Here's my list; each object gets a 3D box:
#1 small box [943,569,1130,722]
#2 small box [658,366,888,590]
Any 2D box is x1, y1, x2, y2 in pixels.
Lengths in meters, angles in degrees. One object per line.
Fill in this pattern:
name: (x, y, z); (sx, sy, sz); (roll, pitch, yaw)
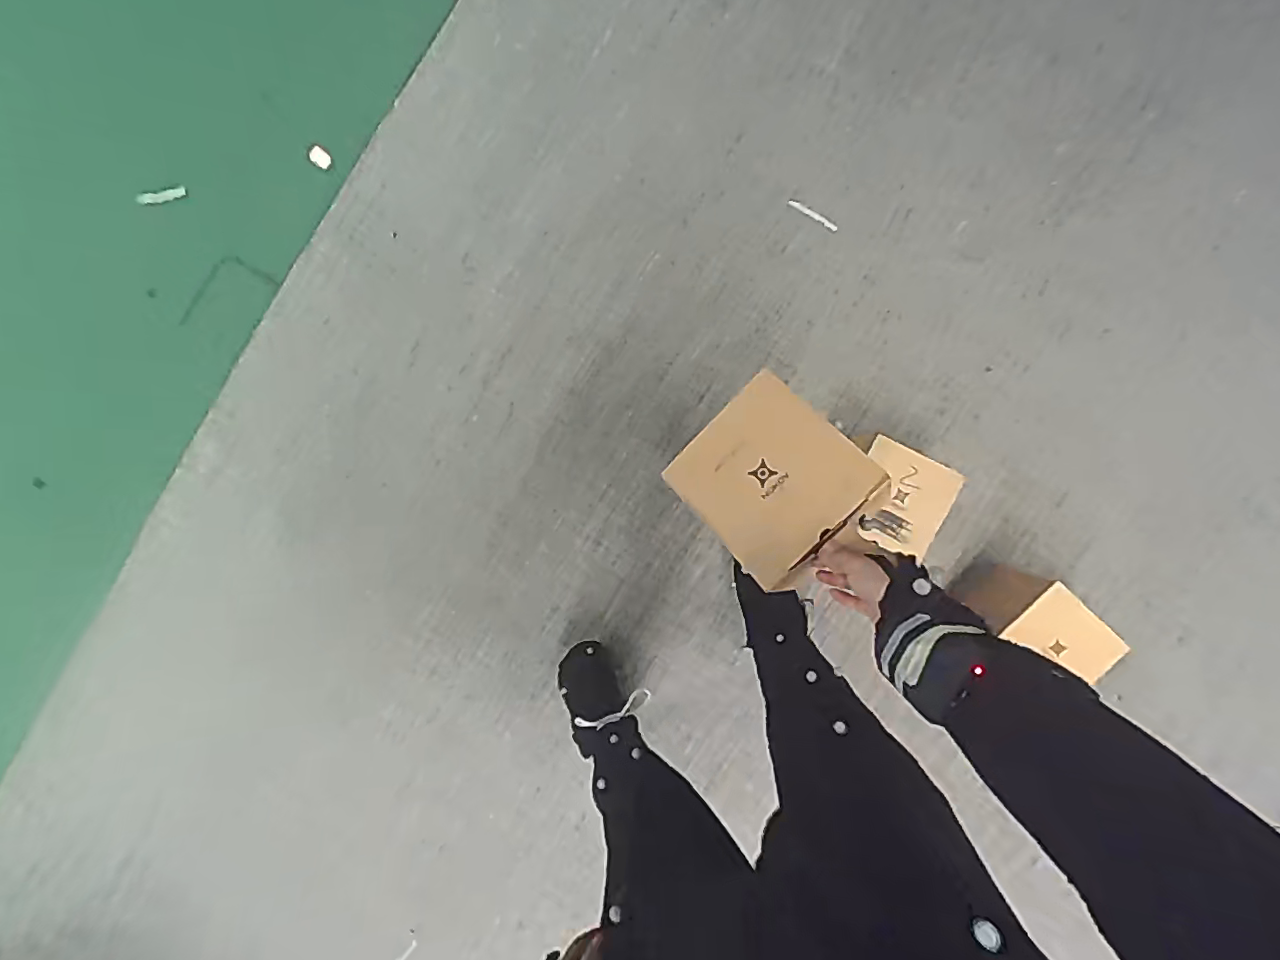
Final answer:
small box: (0.696, 0.284, 0.975); (0.168, 0.176, 0.179); (44, 94, 2)
small box: (0.158, 0.005, 0.622); (0.168, 0.176, 0.179); (-47, 66, 9)
